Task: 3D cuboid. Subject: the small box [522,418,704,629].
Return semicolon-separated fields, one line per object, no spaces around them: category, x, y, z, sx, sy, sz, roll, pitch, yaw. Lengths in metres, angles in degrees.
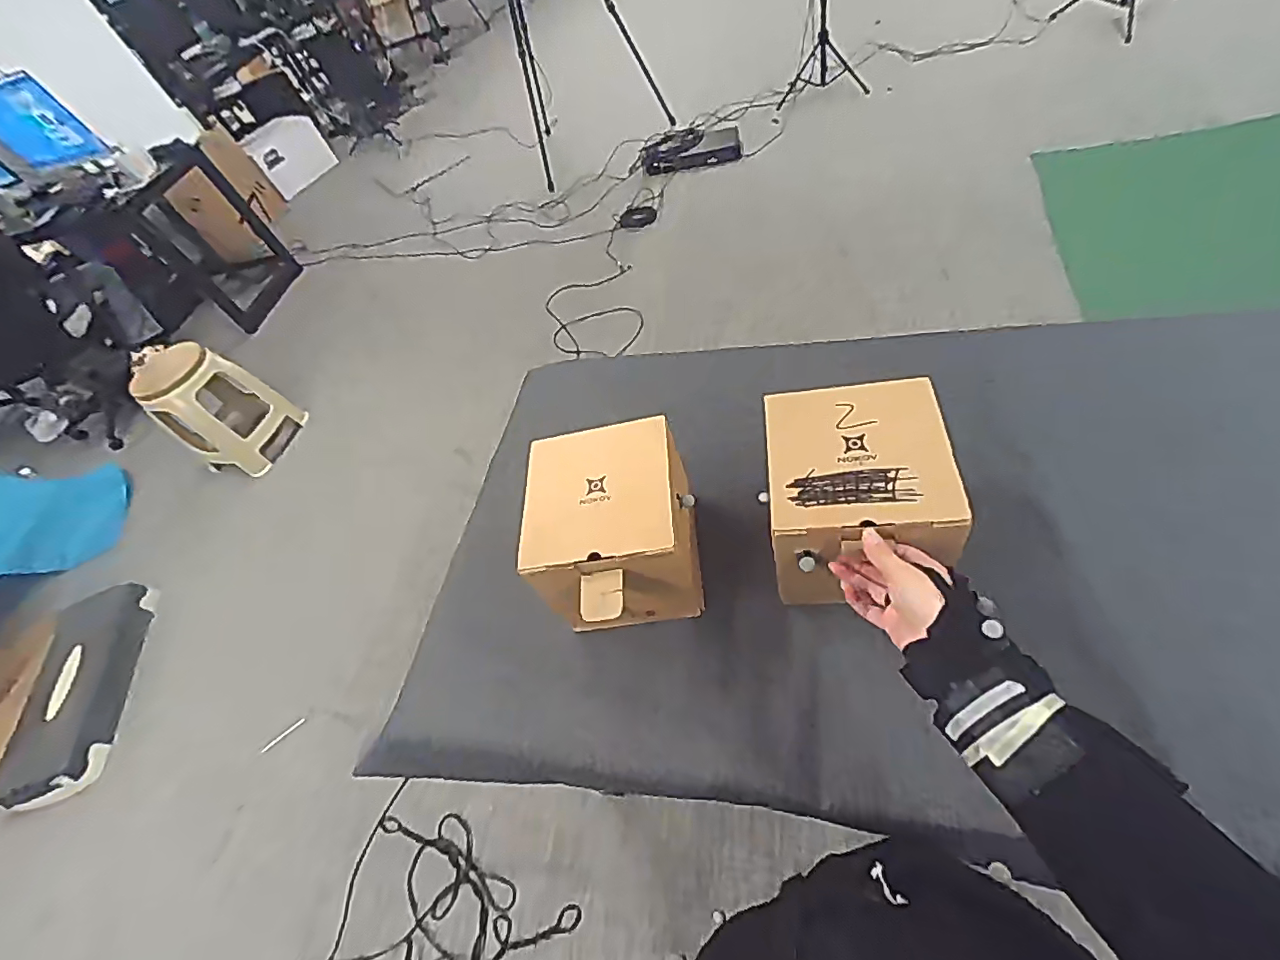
small box;-0.022;0.057;0.640;0.168;0.176;0.179;-10;53;11
